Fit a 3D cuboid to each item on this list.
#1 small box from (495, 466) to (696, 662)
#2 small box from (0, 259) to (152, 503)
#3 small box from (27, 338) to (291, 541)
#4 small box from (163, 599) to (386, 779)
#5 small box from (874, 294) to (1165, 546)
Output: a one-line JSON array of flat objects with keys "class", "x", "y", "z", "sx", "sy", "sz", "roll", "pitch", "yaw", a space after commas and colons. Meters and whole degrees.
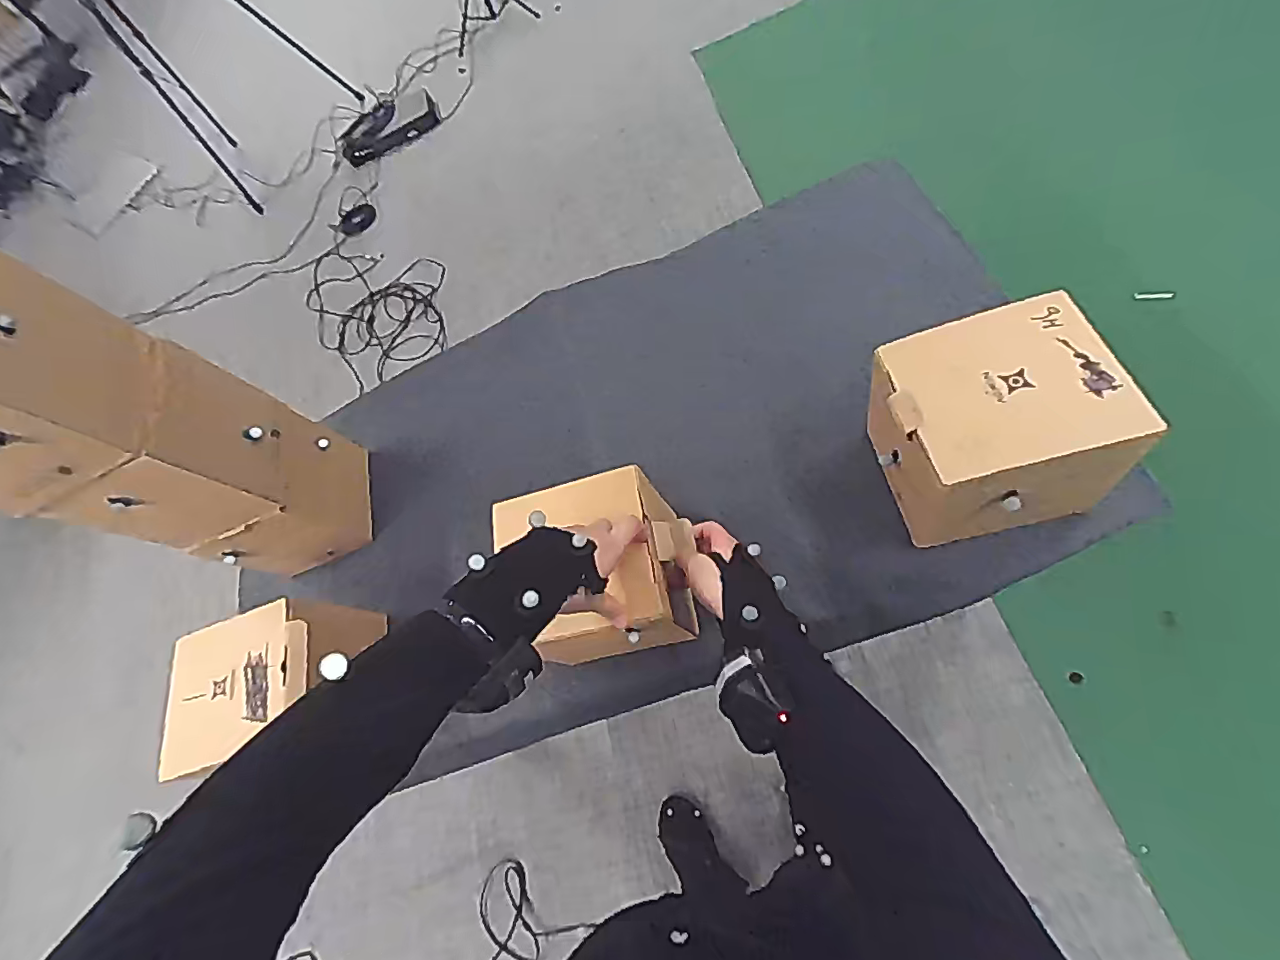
[{"class": "small box", "x": -0.048, "y": 0.109, "z": 0.631, "sx": 0.179, "sy": 0.176, "sz": 0.168, "roll": -16, "pitch": 64, "yaw": 12}, {"class": "small box", "x": -0.635, "y": -0.093, "z": 0.534, "sx": 0.168, "sy": 0.176, "sz": 0.179, "roll": -24, "pitch": 63, "yaw": 6}, {"class": "small box", "x": -0.581, "y": -0.038, "z": 0.677, "sx": 0.179, "sy": 0.176, "sz": 0.168, "roll": -21, "pitch": 65, "yaw": 9}, {"class": "small box", "x": -0.452, "y": 0.266, "z": 0.698, "sx": 0.179, "sy": 0.176, "sz": 0.168, "roll": -20, "pitch": 64, "yaw": 10}, {"class": "small box", "x": 0.353, "y": -0.047, "z": 0.551, "sx": 0.179, "sy": 0.176, "sz": 0.168, "roll": -16, "pitch": 60, "yaw": 13}]
